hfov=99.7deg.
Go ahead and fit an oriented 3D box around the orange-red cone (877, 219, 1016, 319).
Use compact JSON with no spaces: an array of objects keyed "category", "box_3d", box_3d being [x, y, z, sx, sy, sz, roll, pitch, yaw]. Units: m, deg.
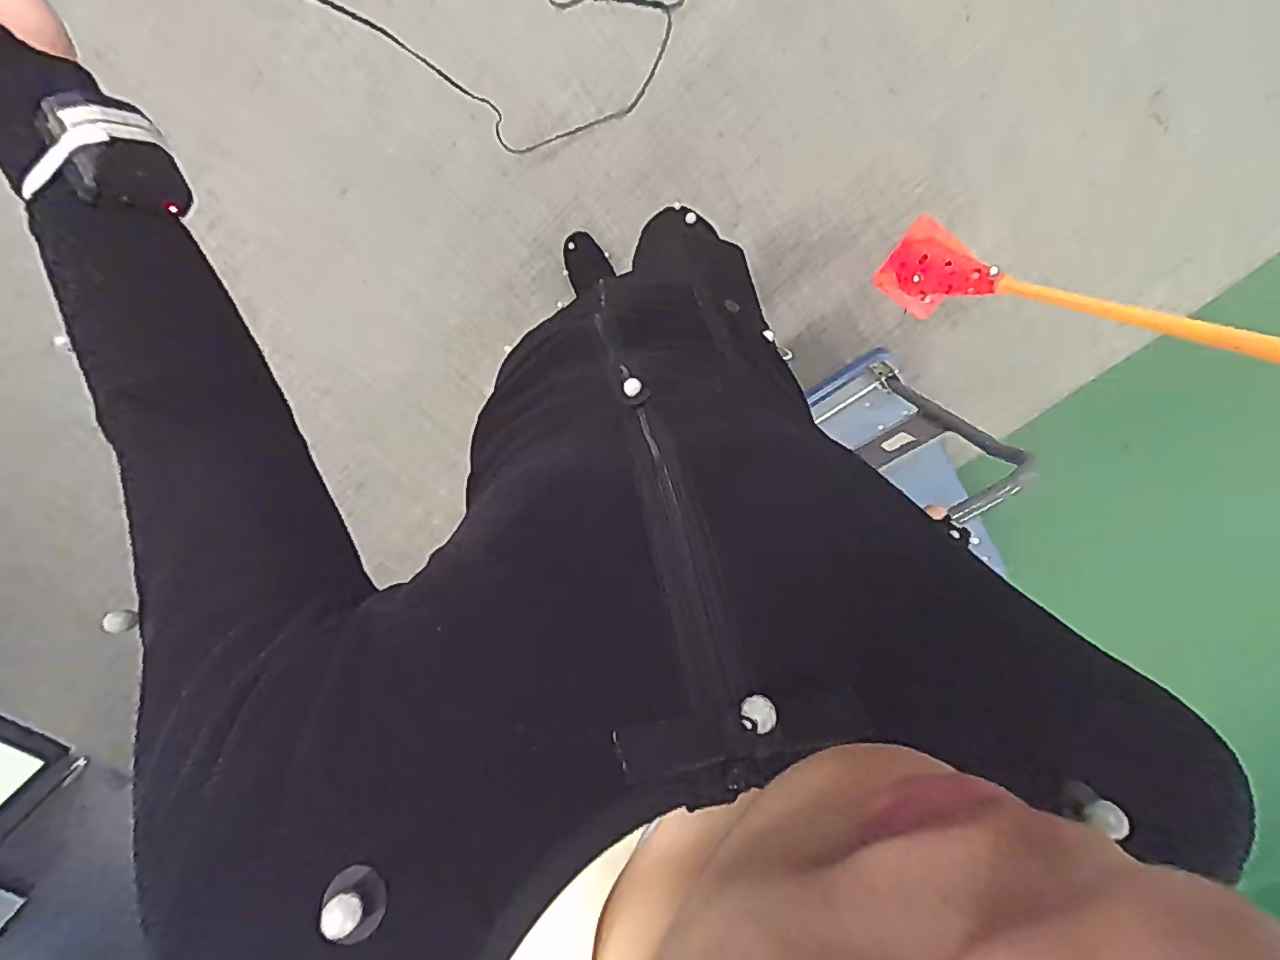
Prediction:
[{"category":"orange-red cone","box_3d":[0.758,-0.480,1.275,0.198,0.360,0.199,30,111,-15]}]
